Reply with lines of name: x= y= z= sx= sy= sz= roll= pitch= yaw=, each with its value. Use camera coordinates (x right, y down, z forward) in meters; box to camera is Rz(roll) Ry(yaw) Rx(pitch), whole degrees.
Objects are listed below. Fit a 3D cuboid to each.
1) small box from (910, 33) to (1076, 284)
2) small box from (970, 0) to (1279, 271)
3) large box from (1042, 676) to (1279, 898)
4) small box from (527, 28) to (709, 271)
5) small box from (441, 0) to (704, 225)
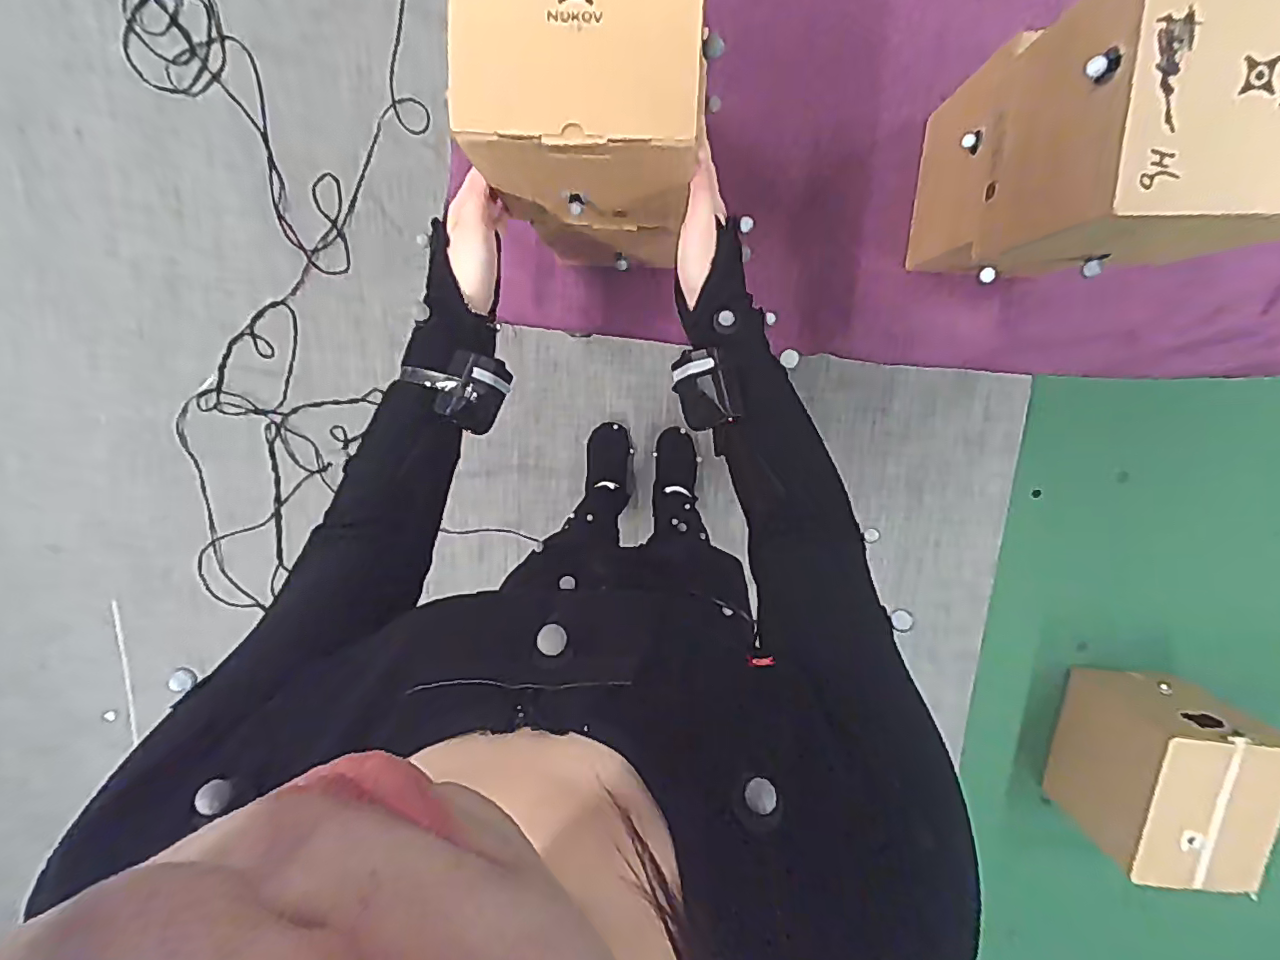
small box: x=0.413 y=-0.320 z=0.573 sx=0.168 sy=0.176 sz=0.179 roll=5 pitch=100 yaw=1
small box: x=0.399 y=-0.264 z=0.417 sx=0.179 sy=0.176 sz=0.168 roll=1 pitch=100 yaw=1
large box: x=1.348 y=0.779 z=1.419 sx=0.320 sy=0.320 sz=0.408 roll=5 pitch=101 yaw=1
small box: x=-0.022 y=-0.337 z=0.578 sx=0.168 sy=0.176 sz=0.179 roll=2 pitch=99 yaw=1
small box: x=-0.042 y=-0.319 z=0.416 sx=0.168 sy=0.176 sz=0.179 roll=3 pitch=99 yaw=0
